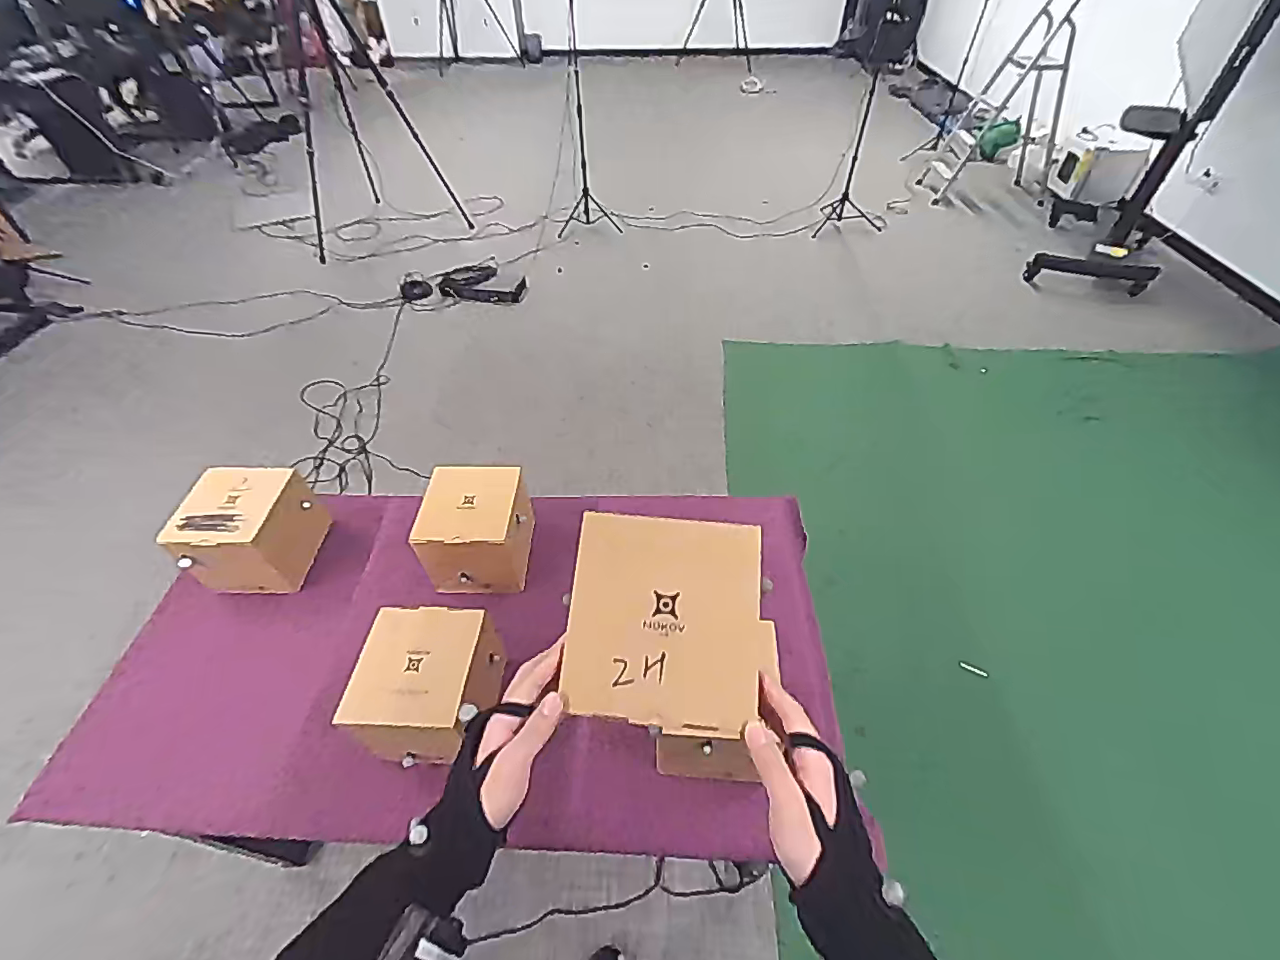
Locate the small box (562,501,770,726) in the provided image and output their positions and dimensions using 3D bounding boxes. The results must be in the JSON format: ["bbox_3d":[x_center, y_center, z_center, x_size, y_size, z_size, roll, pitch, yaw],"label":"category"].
[{"bbox_3d":[0.028,0.136,0.536,0.168,0.176,0.179,5,69,4],"label":"small box"}]

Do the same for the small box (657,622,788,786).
[{"bbox_3d":[0.112,0.322,0.795,0.168,0.176,0.179,3,45,4],"label":"small box"}]

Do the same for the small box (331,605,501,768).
[{"bbox_3d":[-0.316,0.309,0.811,0.168,0.176,0.179,1,47,2],"label":"small box"}]

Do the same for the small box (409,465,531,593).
[{"bbox_3d":[-0.305,0.091,1.013,0.168,0.176,0.179,1,49,0],"label":"small box"}]
